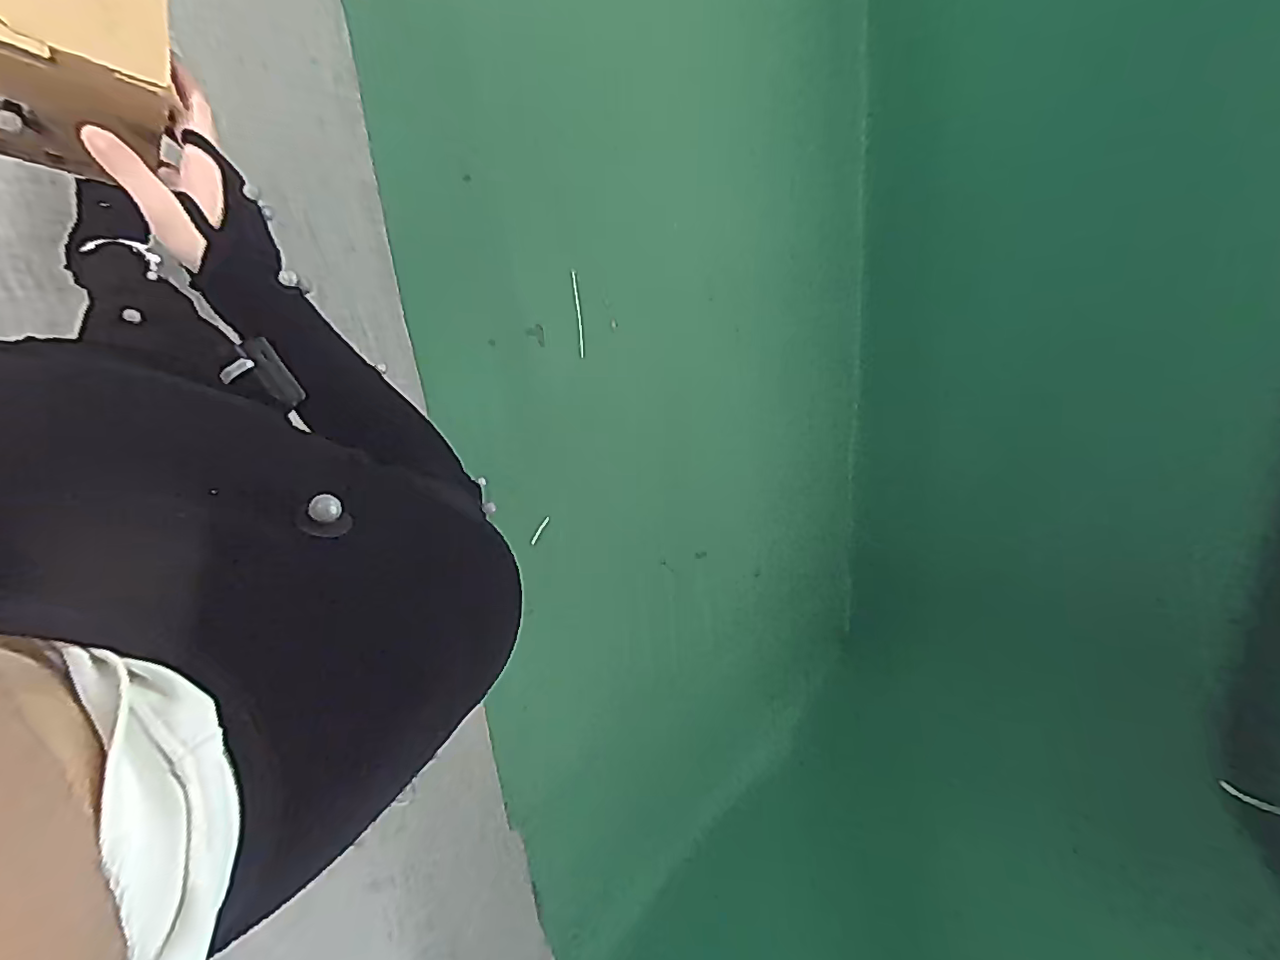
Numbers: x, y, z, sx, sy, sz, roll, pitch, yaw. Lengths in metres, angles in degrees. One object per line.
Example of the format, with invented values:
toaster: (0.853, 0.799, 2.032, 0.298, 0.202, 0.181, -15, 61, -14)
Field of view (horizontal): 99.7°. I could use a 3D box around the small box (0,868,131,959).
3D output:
small box: (-1.244, 1.000, 1.165, 0.179, 0.176, 0.168, -19, 110, -42)
